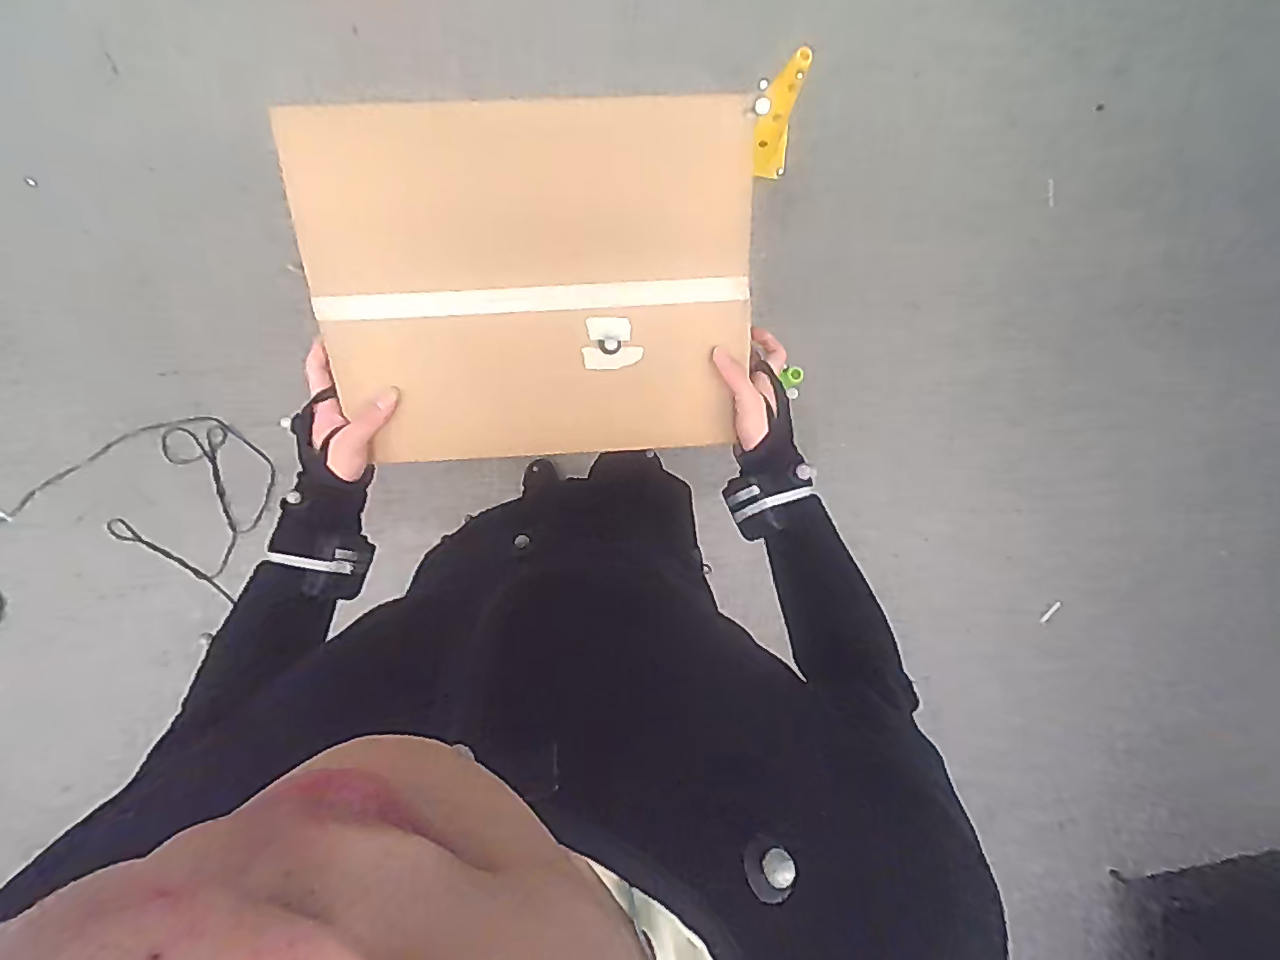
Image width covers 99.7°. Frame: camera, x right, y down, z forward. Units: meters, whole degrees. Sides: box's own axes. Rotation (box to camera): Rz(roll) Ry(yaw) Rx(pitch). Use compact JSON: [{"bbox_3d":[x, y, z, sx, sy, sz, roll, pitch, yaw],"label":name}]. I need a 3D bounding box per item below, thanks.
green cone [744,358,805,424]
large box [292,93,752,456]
[{"bbox_3d":[0.368,-0.272,1.505,0.200,0.368,0.202,2,91,-8],"label":"green cone"},{"bbox_3d":[-0.103,-0.233,0.655,0.408,0.320,0.320,-4,112,-3],"label":"large box"}]
